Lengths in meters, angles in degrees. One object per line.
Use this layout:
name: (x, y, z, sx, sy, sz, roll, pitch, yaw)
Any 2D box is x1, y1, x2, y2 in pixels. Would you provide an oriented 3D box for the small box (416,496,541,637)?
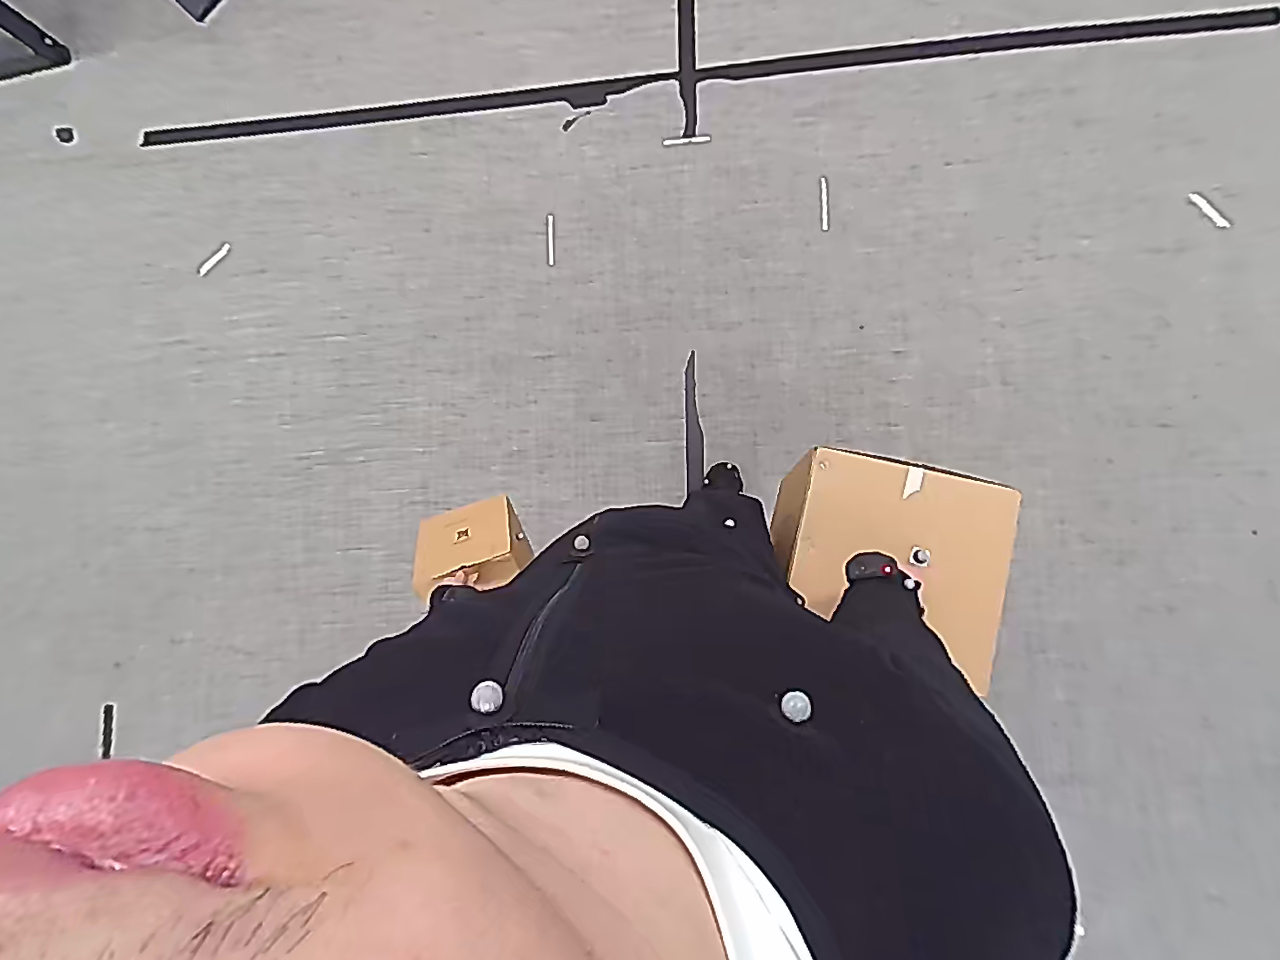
small box: (-0.290, 0.163, 0.993, 0.168, 0.179, 0.176, -18, 126, -5)
